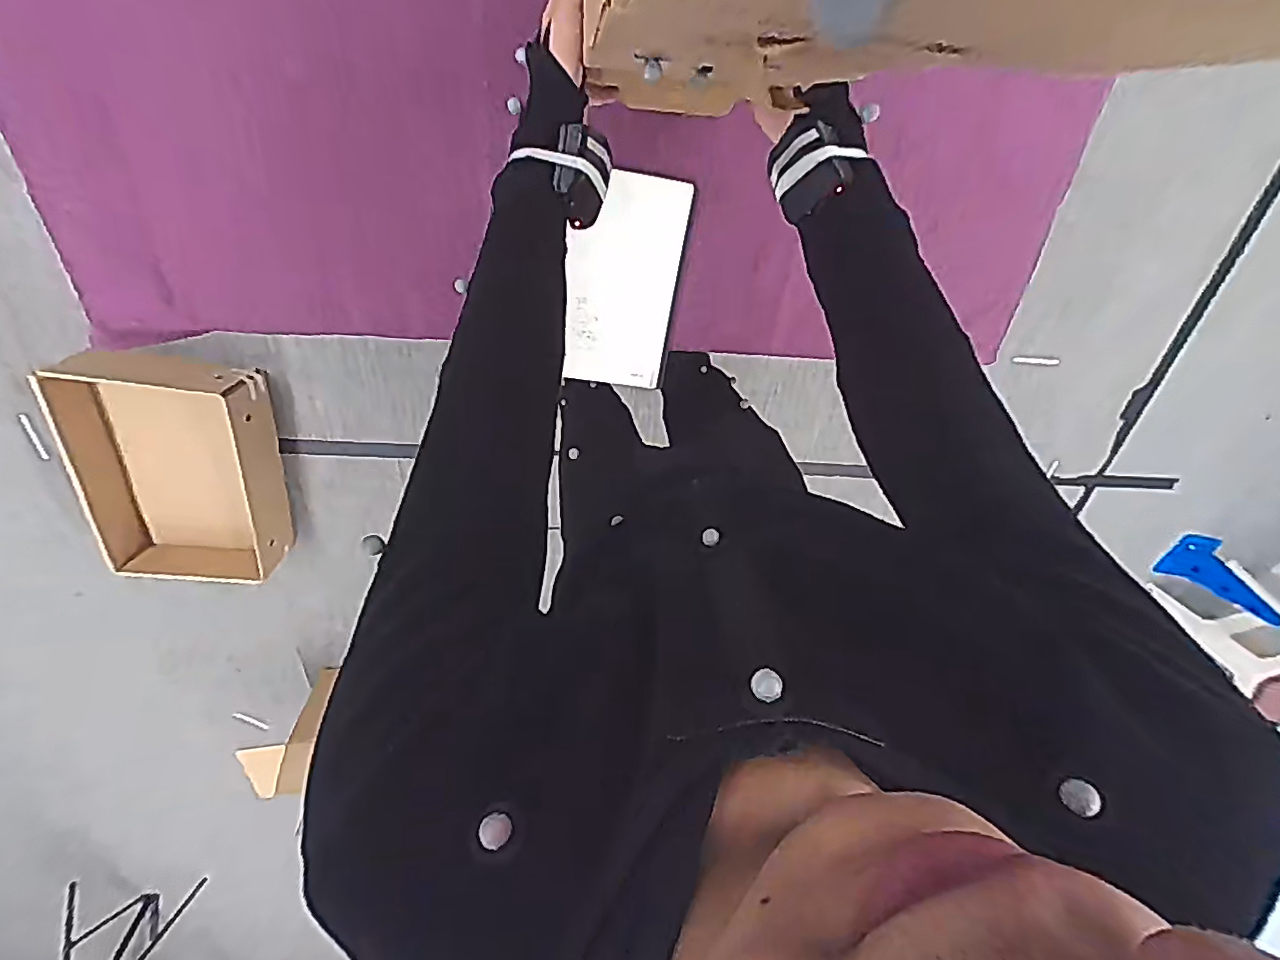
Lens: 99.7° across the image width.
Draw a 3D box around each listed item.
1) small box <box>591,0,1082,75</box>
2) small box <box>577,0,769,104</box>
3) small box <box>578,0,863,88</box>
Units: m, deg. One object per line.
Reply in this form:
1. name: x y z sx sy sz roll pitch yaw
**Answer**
1. small box: 0.066 -0.267 0.200 0.168 0.176 0.179 -1 123 -7
2. small box: 0.031 -0.445 0.474 0.168 0.176 0.179 1 124 -9
3. small box: 0.051 -0.356 0.338 0.179 0.176 0.168 0 125 -8
